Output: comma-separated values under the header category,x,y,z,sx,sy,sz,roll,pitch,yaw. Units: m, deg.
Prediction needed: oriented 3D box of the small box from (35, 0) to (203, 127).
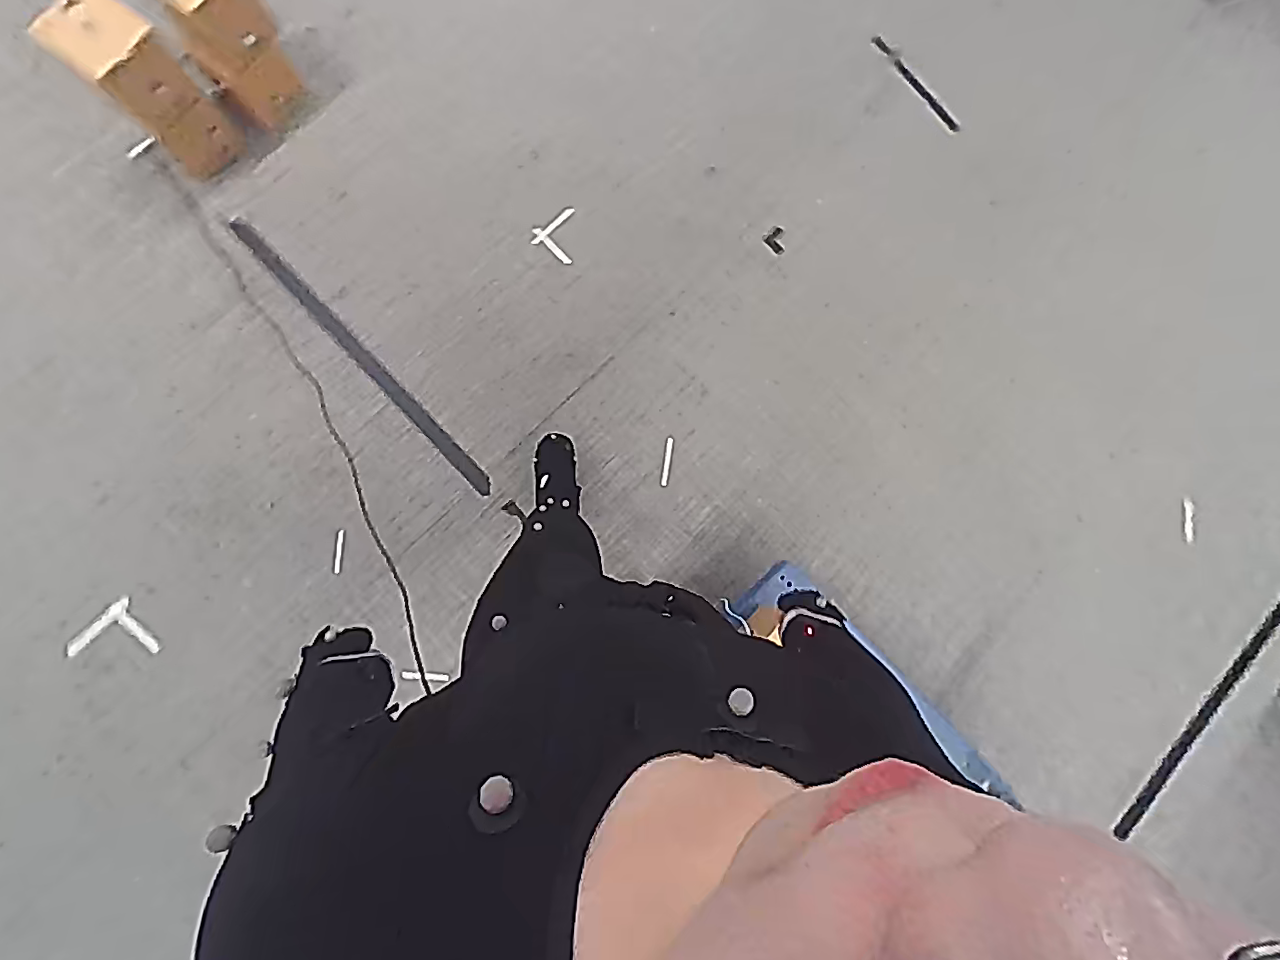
category,x,y,z,sx,sy,sz,roll,pitch,yaw
small box,-1.155,-0.946,1.219,0.179,0.176,0.168,38,81,-3

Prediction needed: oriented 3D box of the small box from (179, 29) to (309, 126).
category,x,y,z,sx,sy,sz,roll,pitch,yaw
small box,-1.021,-1.082,1.412,0.179,0.176,0.168,38,82,-3

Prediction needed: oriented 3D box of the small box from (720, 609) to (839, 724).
category,x,y,z,sx,sy,sz,roll,pitch,yaw
small box,0.312,0.417,1.249,0.179,0.176,0.168,45,82,-2

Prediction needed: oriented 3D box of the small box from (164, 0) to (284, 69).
category,x,y,z,sx,sy,sz,roll,pitch,yaw
small box,-0.988,-1.118,1.253,0.179,0.176,0.168,39,82,-3

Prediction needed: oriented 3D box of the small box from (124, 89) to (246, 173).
category,x,y,z,sx,sy,sz,roll,pitch,yaw
small box,-1.170,-0.927,1.382,0.179,0.176,0.168,41,82,-1
